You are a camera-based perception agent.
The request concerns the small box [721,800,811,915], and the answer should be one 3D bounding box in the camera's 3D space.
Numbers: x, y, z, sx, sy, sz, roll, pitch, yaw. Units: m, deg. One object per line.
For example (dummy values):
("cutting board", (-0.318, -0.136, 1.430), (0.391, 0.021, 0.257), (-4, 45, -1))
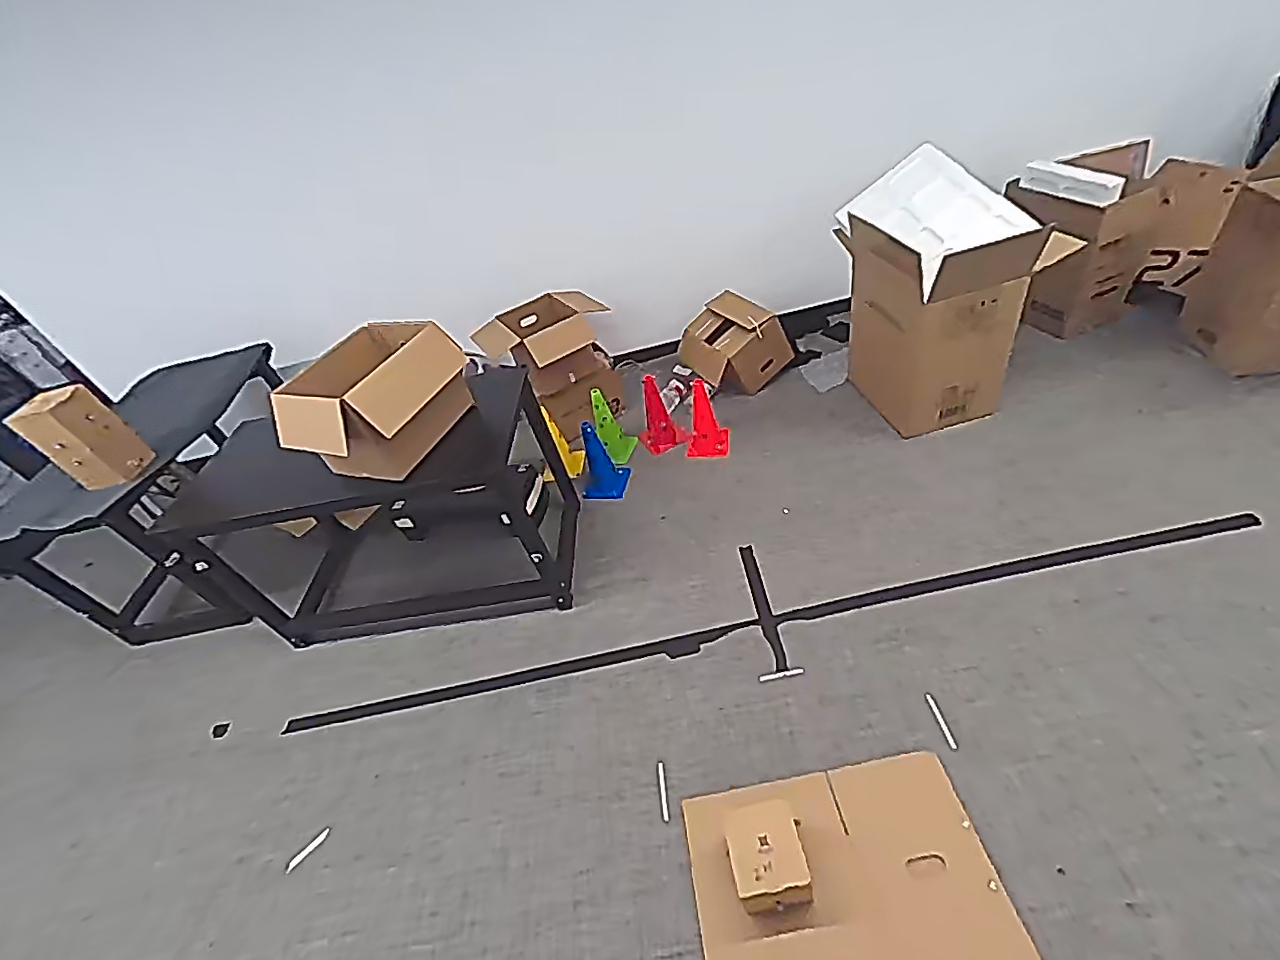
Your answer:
("small box", (0.297, 0.897, 1.284), (0.168, 0.176, 0.179), (-15, 41, 3))
